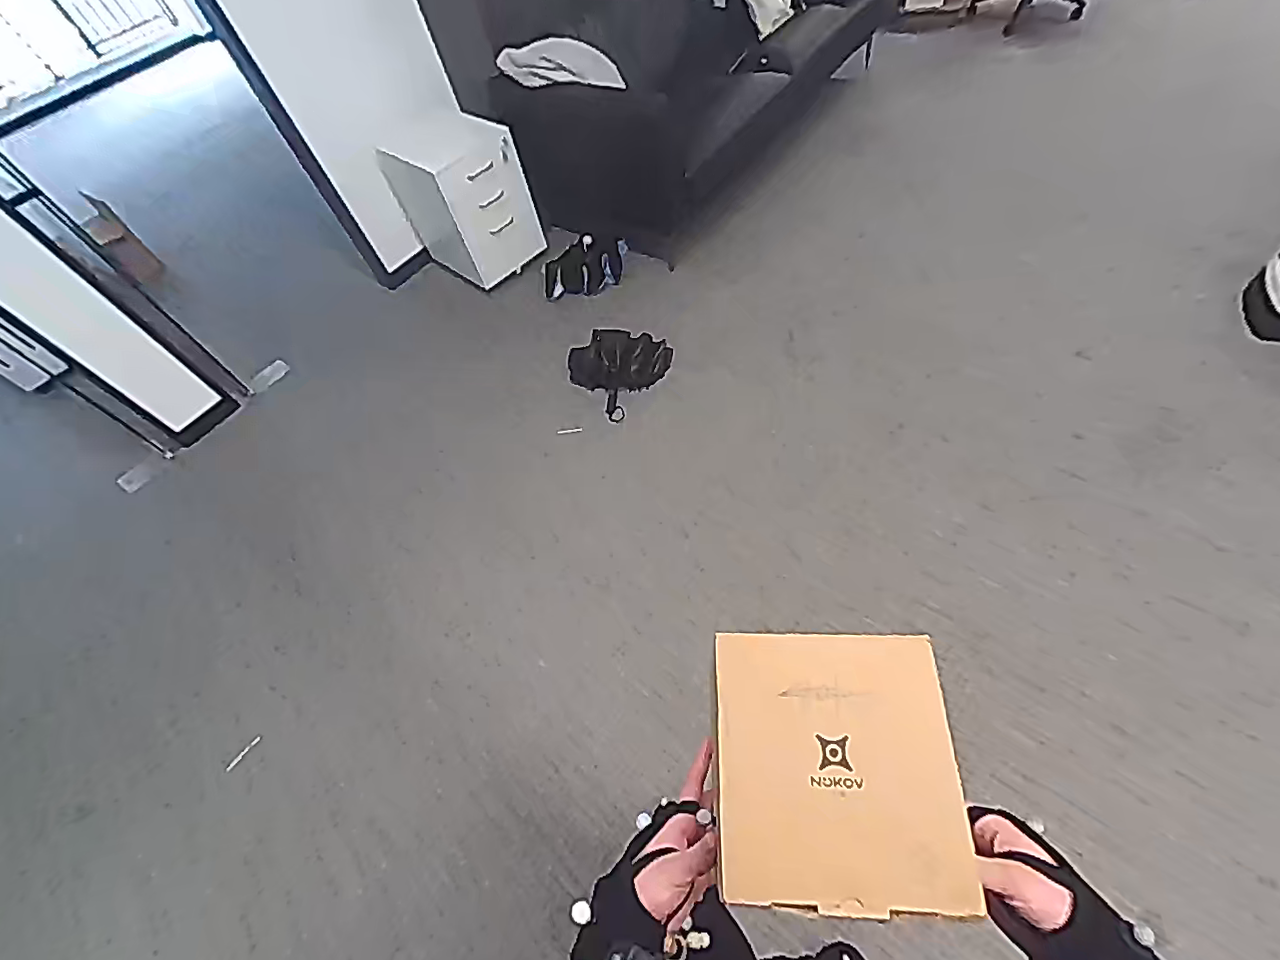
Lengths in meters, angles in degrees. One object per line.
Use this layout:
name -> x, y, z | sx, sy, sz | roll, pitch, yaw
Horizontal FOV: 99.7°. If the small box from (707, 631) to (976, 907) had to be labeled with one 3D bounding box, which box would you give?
small box -> 0.144, 0.237, 0.462 | 0.168, 0.176, 0.179 | -1, 60, 4
